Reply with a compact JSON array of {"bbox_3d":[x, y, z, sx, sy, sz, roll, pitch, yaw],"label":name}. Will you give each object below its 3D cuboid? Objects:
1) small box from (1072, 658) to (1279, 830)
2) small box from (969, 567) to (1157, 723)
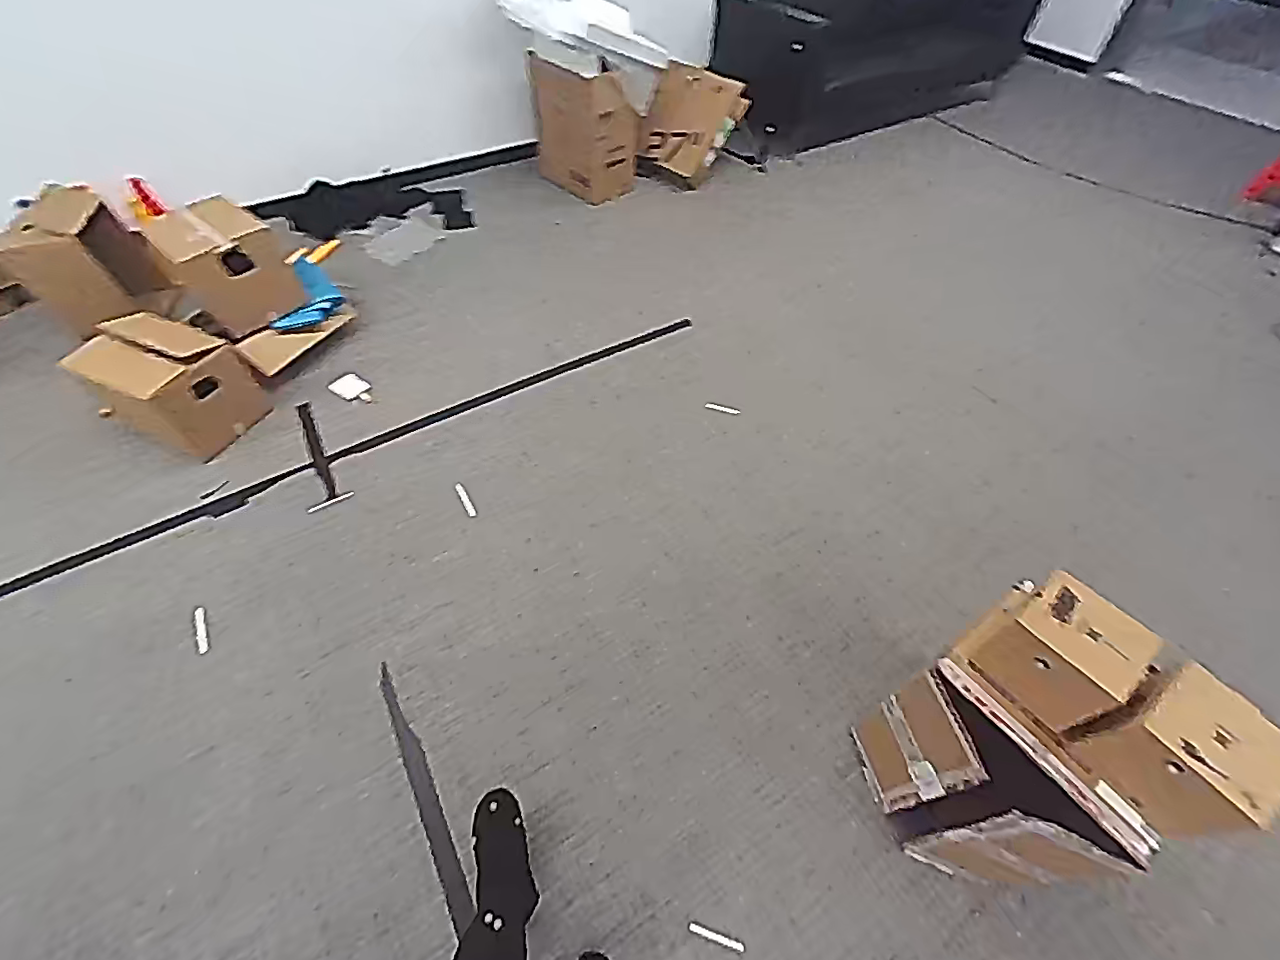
[{"bbox_3d":[0.854,0.423,0.866,0.179,0.176,0.168,-28,60,-23],"label":"small box"},{"bbox_3d":[0.735,0.296,0.961,0.168,0.176,0.179,-31,58,-24],"label":"small box"}]
